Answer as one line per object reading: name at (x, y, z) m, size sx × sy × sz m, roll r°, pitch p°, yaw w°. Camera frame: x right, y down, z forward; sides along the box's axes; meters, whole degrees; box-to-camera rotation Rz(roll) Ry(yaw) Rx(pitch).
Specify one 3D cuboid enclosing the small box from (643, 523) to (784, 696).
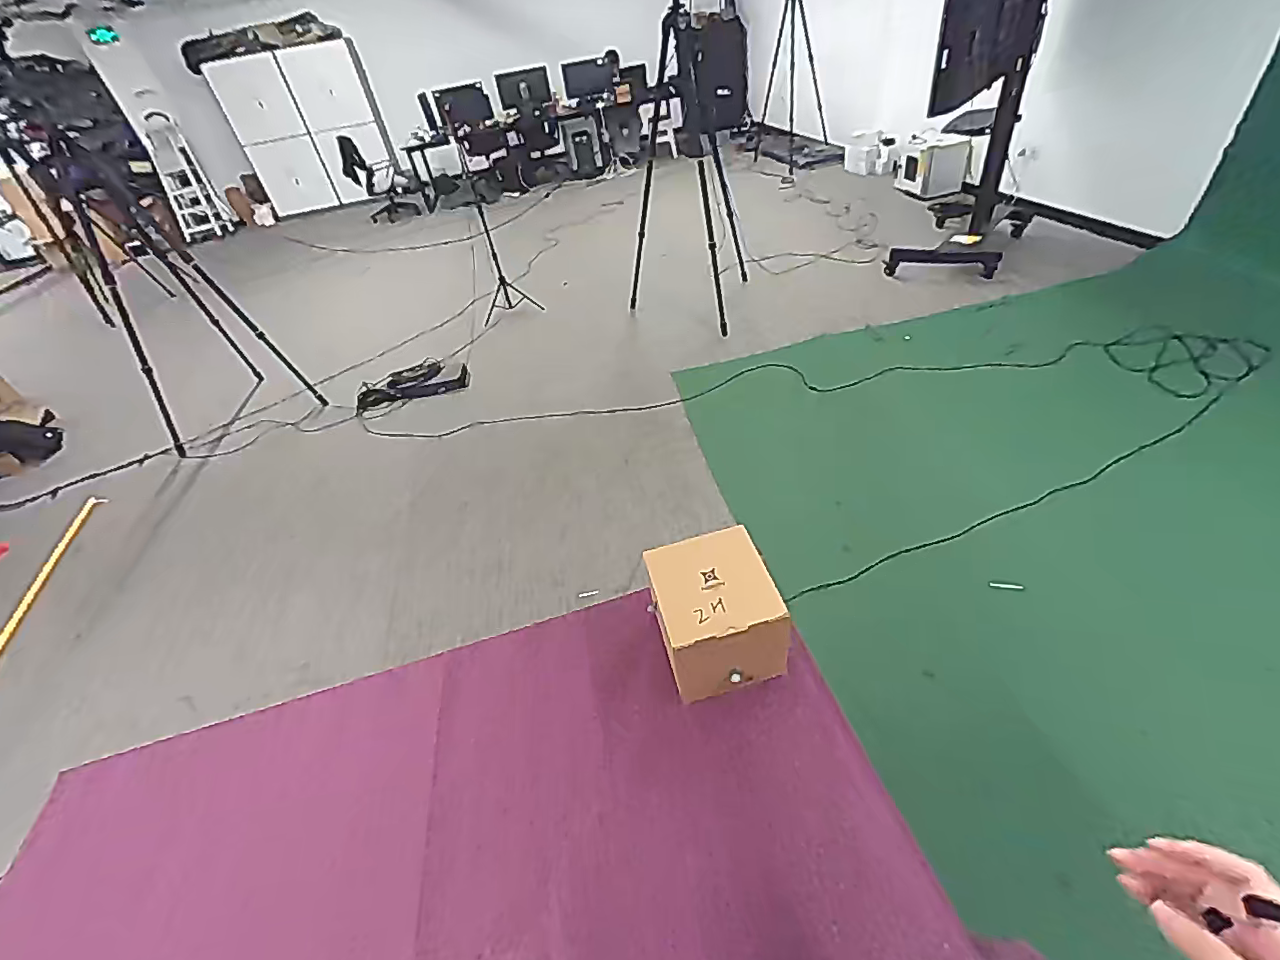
small box at (0.109, 0.200, 0.835) m, size 0.168 × 0.176 × 0.179 m, roll -15°, pitch 44°, yaw -3°
